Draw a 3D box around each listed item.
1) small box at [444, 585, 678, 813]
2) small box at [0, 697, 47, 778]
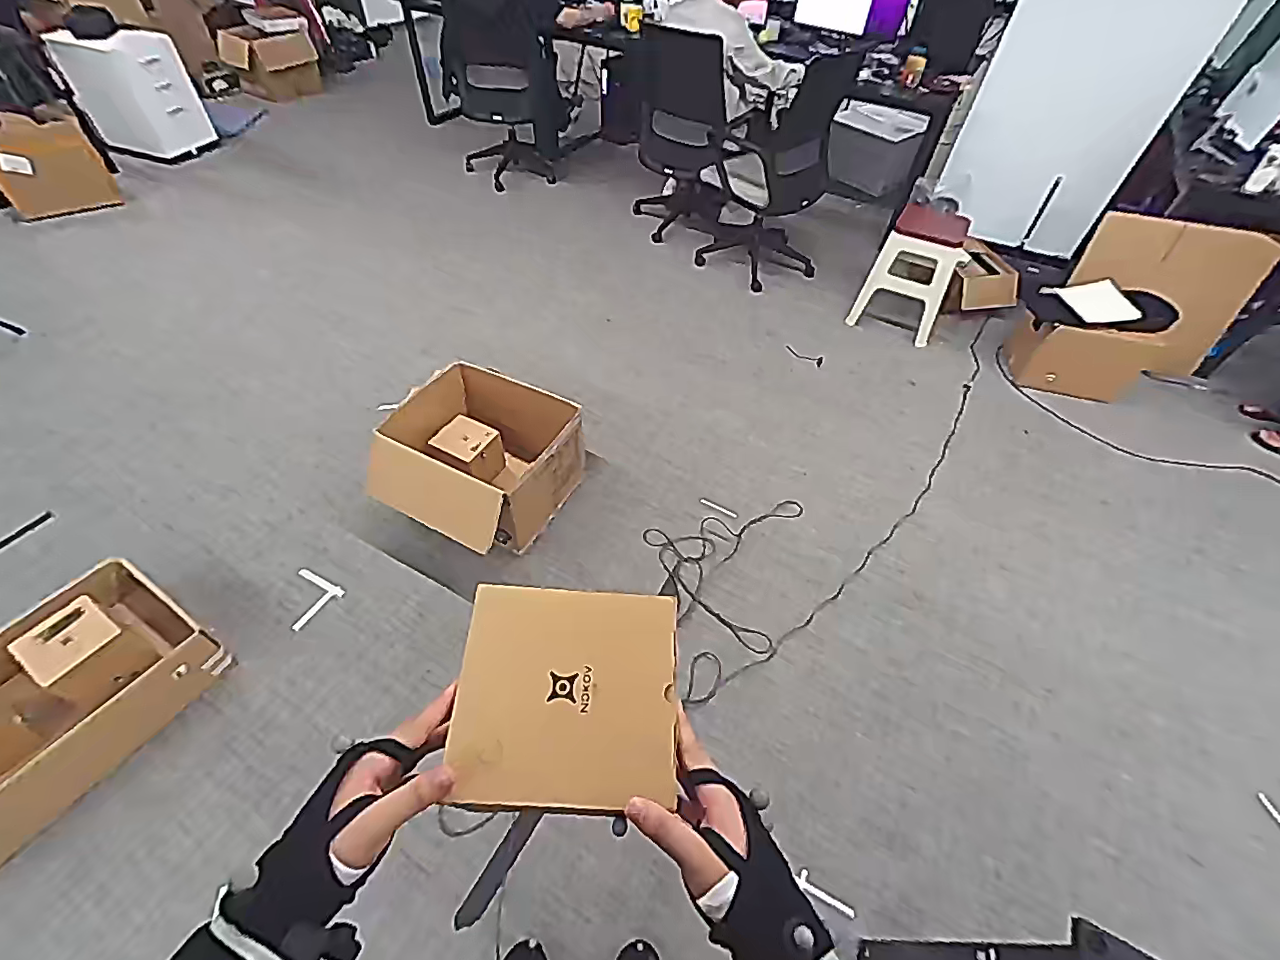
[{"bbox_3d":[-0.062,0.211,0.507,0.179,0.176,0.168,5,57,-4],"label":"small box"},{"bbox_3d":[-1.518,0.594,1.207,0.168,0.176,0.179,29,53,17],"label":"small box"}]
